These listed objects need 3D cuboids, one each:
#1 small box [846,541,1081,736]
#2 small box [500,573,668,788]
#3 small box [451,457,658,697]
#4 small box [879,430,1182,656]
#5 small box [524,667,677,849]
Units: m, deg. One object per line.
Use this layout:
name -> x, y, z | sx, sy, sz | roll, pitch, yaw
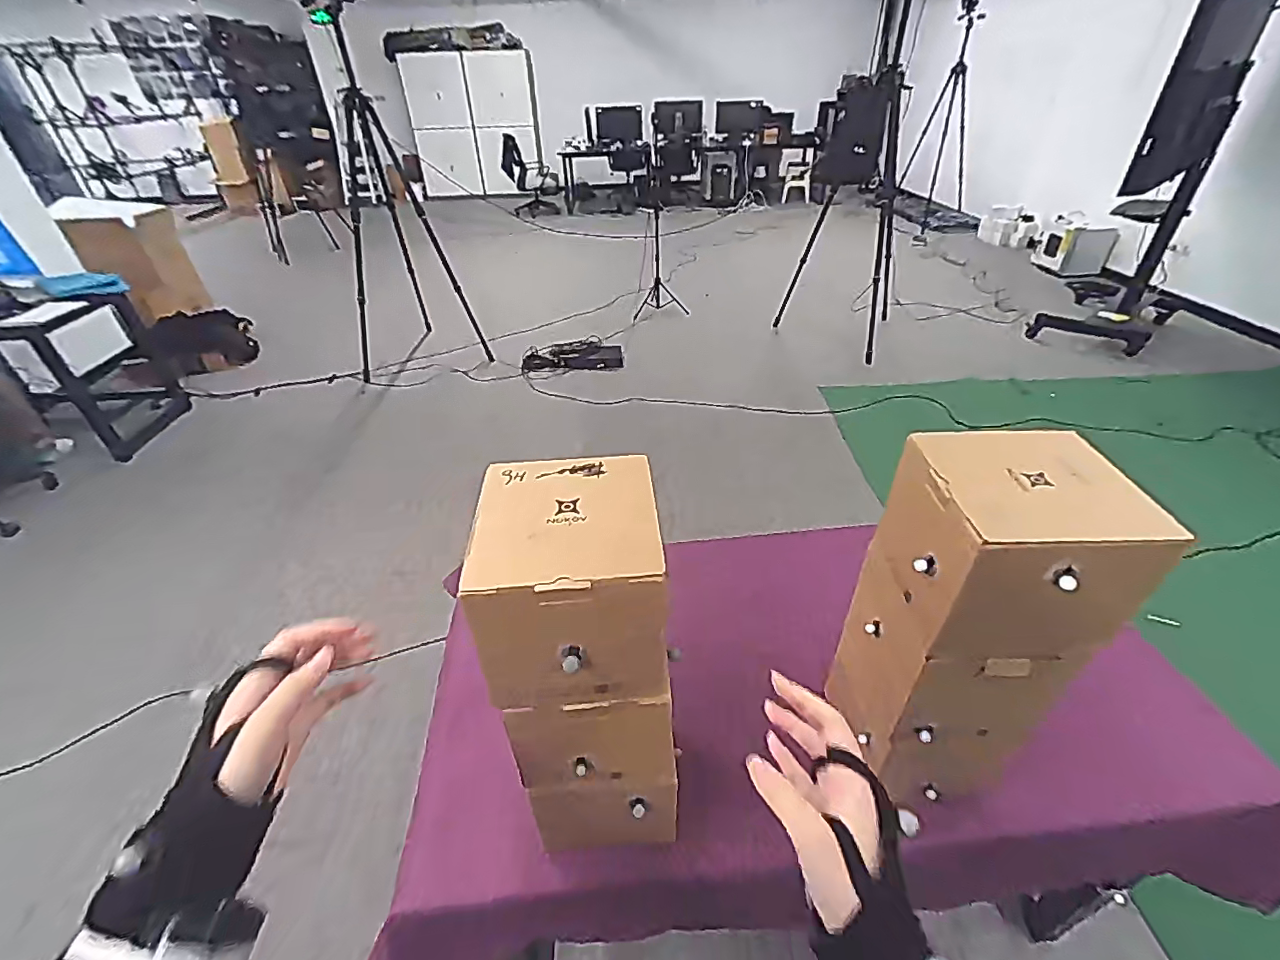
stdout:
small box -> 0.367, 0.191, 0.656 | 0.168, 0.176, 0.179 | -2, 36, 2
small box -> -0.056, 0.231, 0.635 | 0.168, 0.176, 0.179 | -3, 37, -1
small box -> -0.071, 0.098, 0.540 | 0.168, 0.176, 0.179 | -4, 38, -3
small box -> 0.363, 0.064, 0.554 | 0.179, 0.176, 0.168 | -1, 38, 2
small box -> -0.046, 0.368, 0.725 | 0.179, 0.176, 0.168 | -4, 36, -1
